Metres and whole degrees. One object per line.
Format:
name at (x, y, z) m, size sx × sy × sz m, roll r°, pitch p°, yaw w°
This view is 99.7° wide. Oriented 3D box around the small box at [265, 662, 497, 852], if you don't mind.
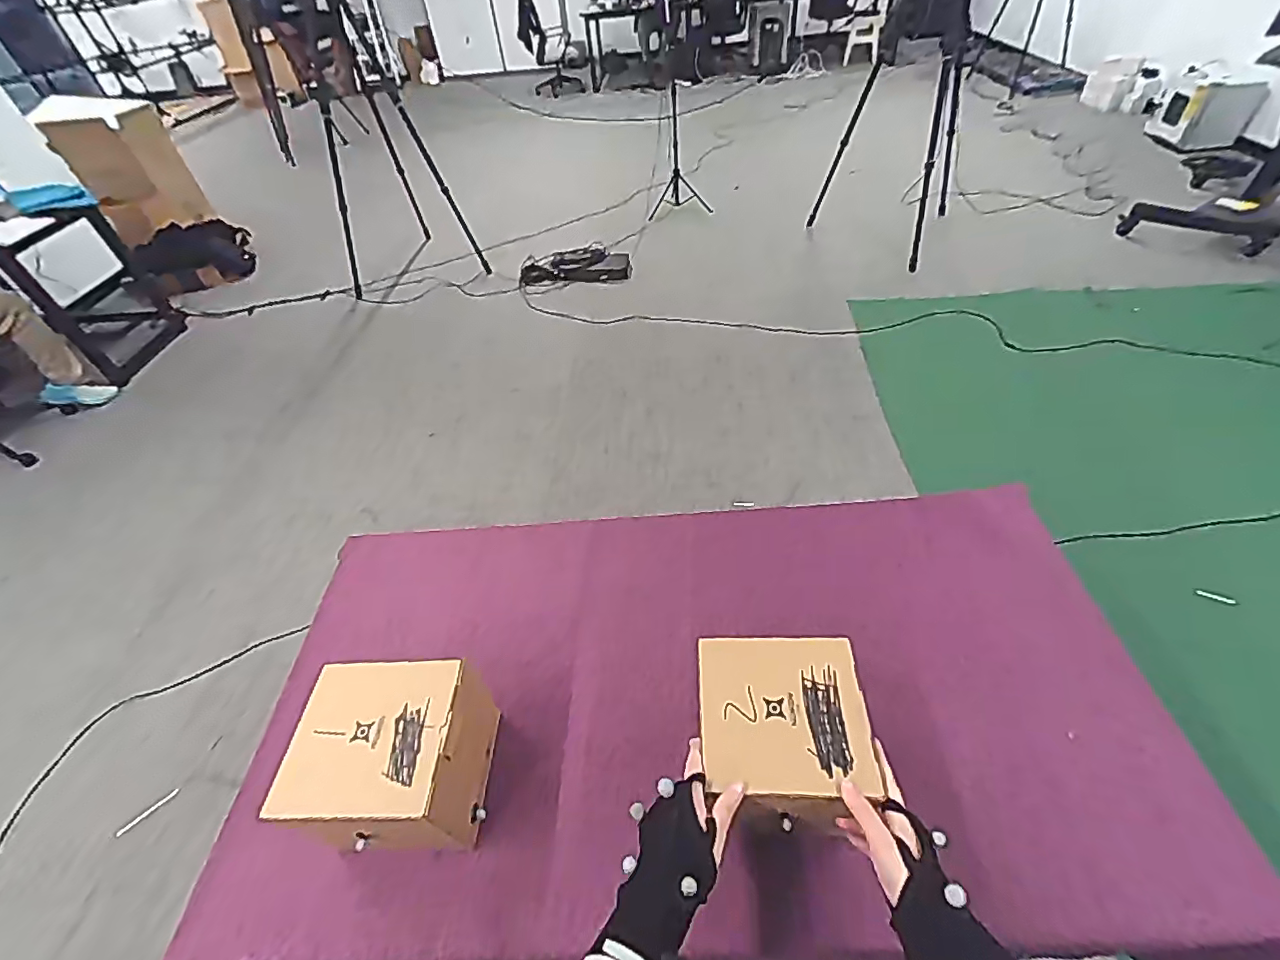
small box at (-0.287, 0.335, 0.654) m, size 0.179 × 0.176 × 0.168 m, roll -3°, pitch 46°, yaw 4°
